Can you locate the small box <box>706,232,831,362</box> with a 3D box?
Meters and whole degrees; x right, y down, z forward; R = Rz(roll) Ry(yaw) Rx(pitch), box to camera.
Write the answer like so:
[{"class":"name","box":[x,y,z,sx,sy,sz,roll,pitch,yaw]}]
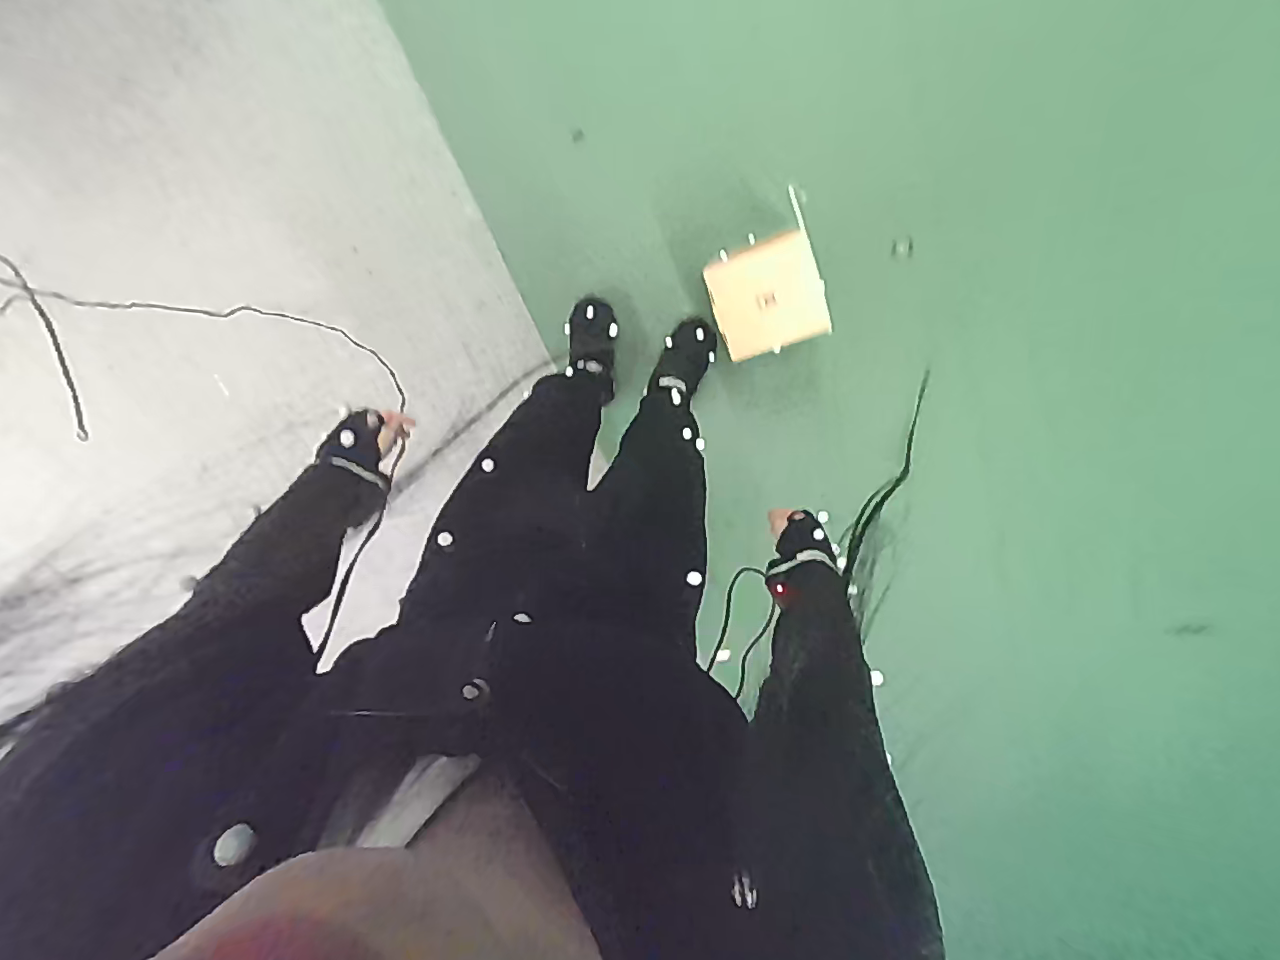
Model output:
[{"class":"small box","box":[0.230,-0.338,0.986,0.179,0.176,0.168,-16,112,18]}]
